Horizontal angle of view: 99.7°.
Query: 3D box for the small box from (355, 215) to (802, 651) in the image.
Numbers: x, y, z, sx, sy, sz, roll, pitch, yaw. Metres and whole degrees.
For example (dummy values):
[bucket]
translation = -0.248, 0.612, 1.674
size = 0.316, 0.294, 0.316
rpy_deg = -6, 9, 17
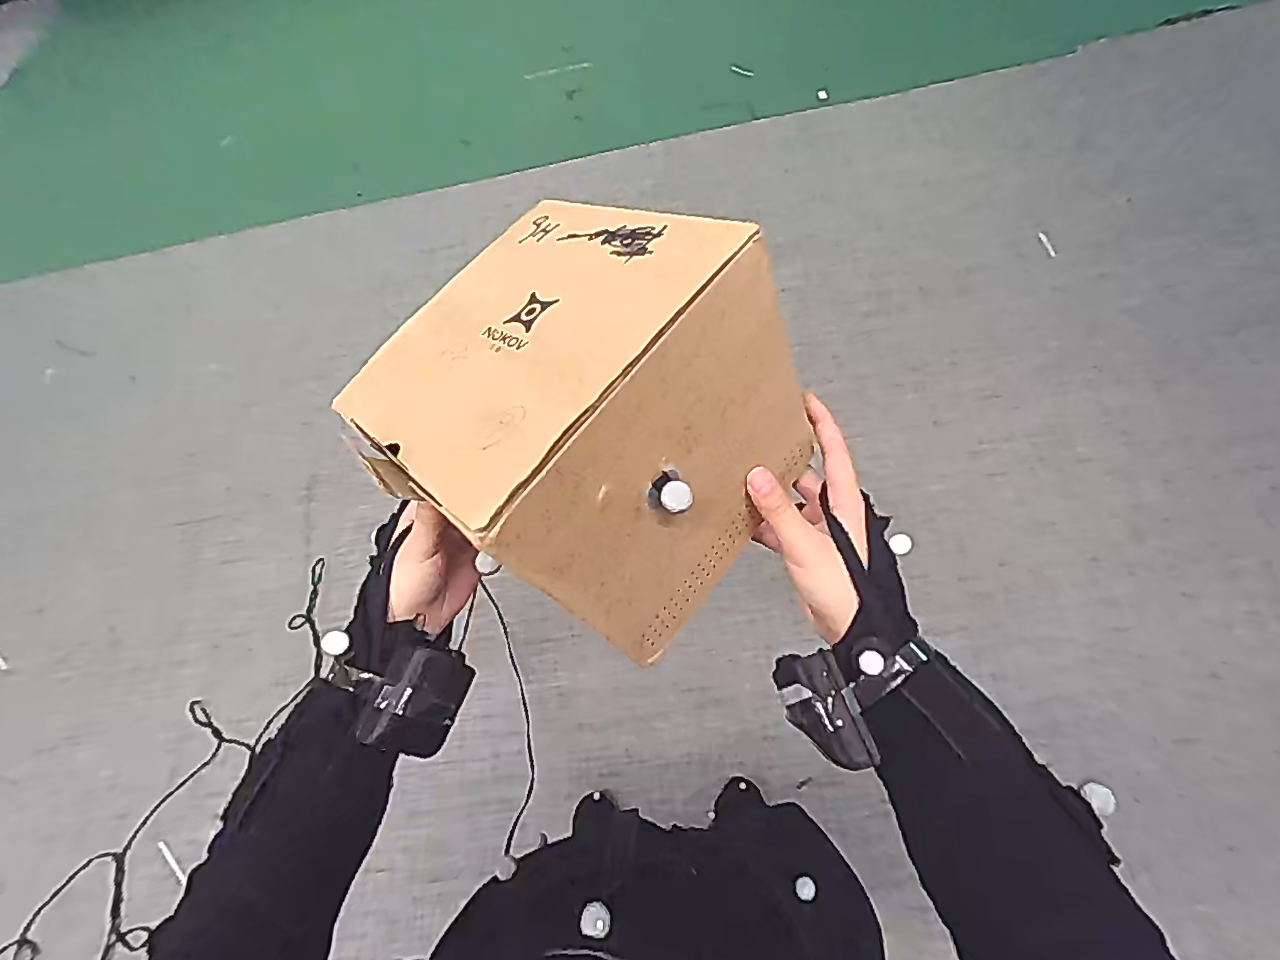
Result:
[small box]
translation = -0.022, -0.026, 0.330
size = 0.168, 0.176, 0.179
rpy_deg = 30, 75, 38
